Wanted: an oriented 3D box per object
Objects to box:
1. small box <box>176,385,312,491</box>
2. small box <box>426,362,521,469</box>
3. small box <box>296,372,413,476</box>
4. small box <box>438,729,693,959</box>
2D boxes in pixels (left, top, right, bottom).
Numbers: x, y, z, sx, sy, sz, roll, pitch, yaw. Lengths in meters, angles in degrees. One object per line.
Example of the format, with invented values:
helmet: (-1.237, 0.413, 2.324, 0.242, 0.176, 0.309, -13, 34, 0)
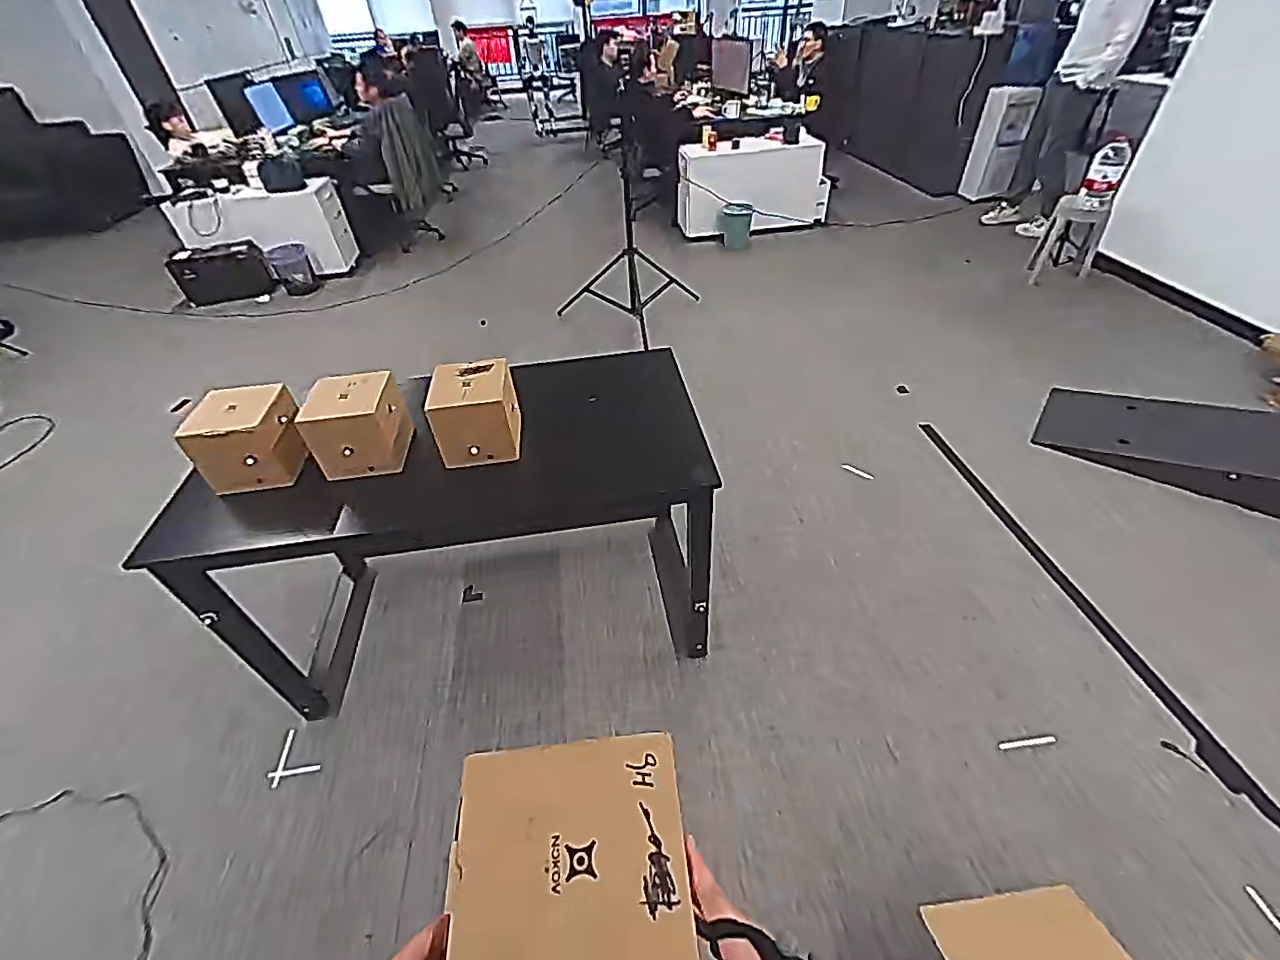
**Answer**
small box: (-0.872, -0.089, 1.218, 0.168, 0.176, 0.179, -7, 41, -5)
small box: (-0.372, -0.149, 1.242, 0.168, 0.176, 0.179, -7, 43, -3)
small box: (-0.635, -0.121, 1.232, 0.168, 0.176, 0.179, -7, 42, -4)
small box: (-0.052, 0.332, 0.463, 0.179, 0.176, 0.168, -6, 50, -2)
